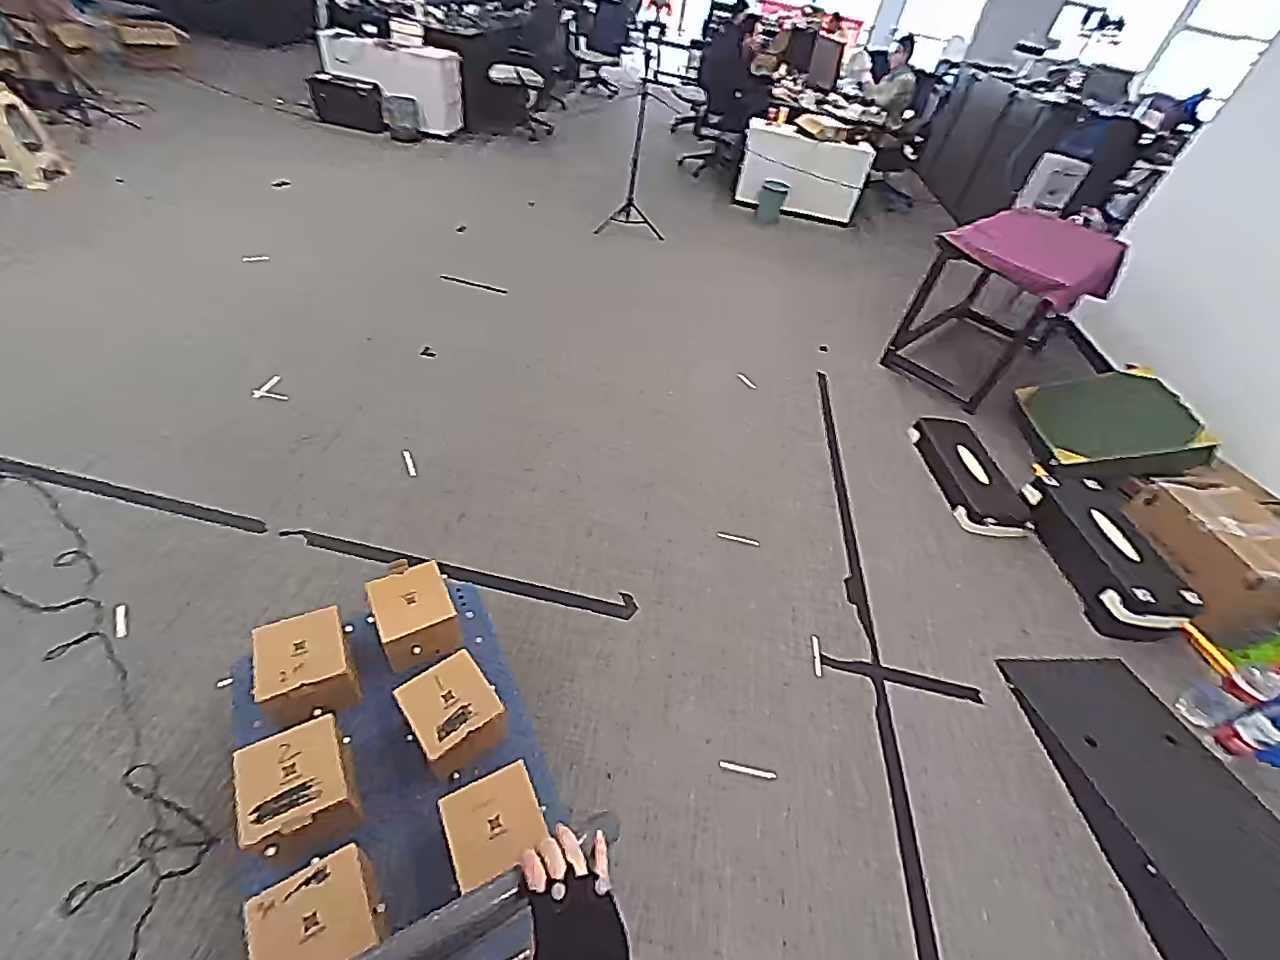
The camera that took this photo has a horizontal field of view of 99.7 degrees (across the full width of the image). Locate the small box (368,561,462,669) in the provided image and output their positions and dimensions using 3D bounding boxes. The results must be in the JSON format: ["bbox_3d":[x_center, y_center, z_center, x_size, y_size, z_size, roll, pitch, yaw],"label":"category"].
[{"bbox_3d":[-0.548,0.338,1.331,0.168,0.176,0.179,-19,52,-27],"label":"small box"}]

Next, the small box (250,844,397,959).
[{"bbox_3d":[-0.525,0.764,0.911,0.168,0.176,0.179,-18,53,-29],"label":"small box"}]

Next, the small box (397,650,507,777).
[{"bbox_3d":[-0.404,0.517,1.184,0.168,0.176,0.179,-27,56,-33],"label":"small box"}]

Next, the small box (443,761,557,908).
[{"bbox_3d":[-0.269,0.688,1.044,0.168,0.176,0.179,-15,50,-26],"label":"small box"}]

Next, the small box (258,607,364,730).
[{"bbox_3d":[-0.731,0.420,1.207,0.168,0.176,0.179,-14,51,-24],"label":"small box"}]
